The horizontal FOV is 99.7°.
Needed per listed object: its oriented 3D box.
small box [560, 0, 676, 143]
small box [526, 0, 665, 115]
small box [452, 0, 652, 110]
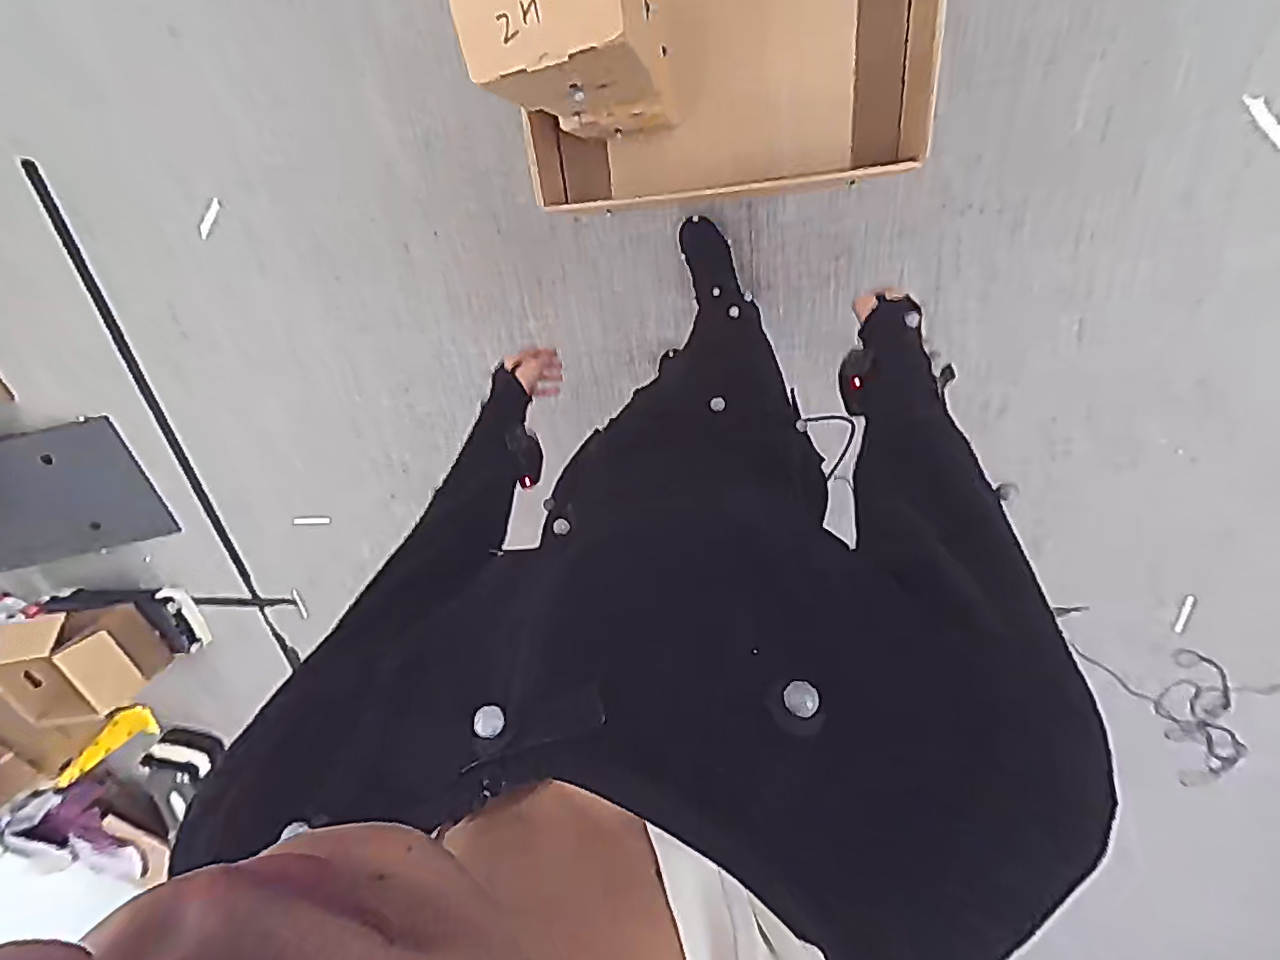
[{"bbox_3d":[-0.038,-0.656,0.855,0.168,0.176,0.179,-3,116,12],"label":"small box"},{"bbox_3d":[-0.065,-0.596,0.704,0.168,0.176,0.179,-2,115,12],"label":"small box"},{"bbox_3d":[-0.090,-0.517,0.562,0.168,0.176,0.179,-6,116,14],"label":"small box"}]
